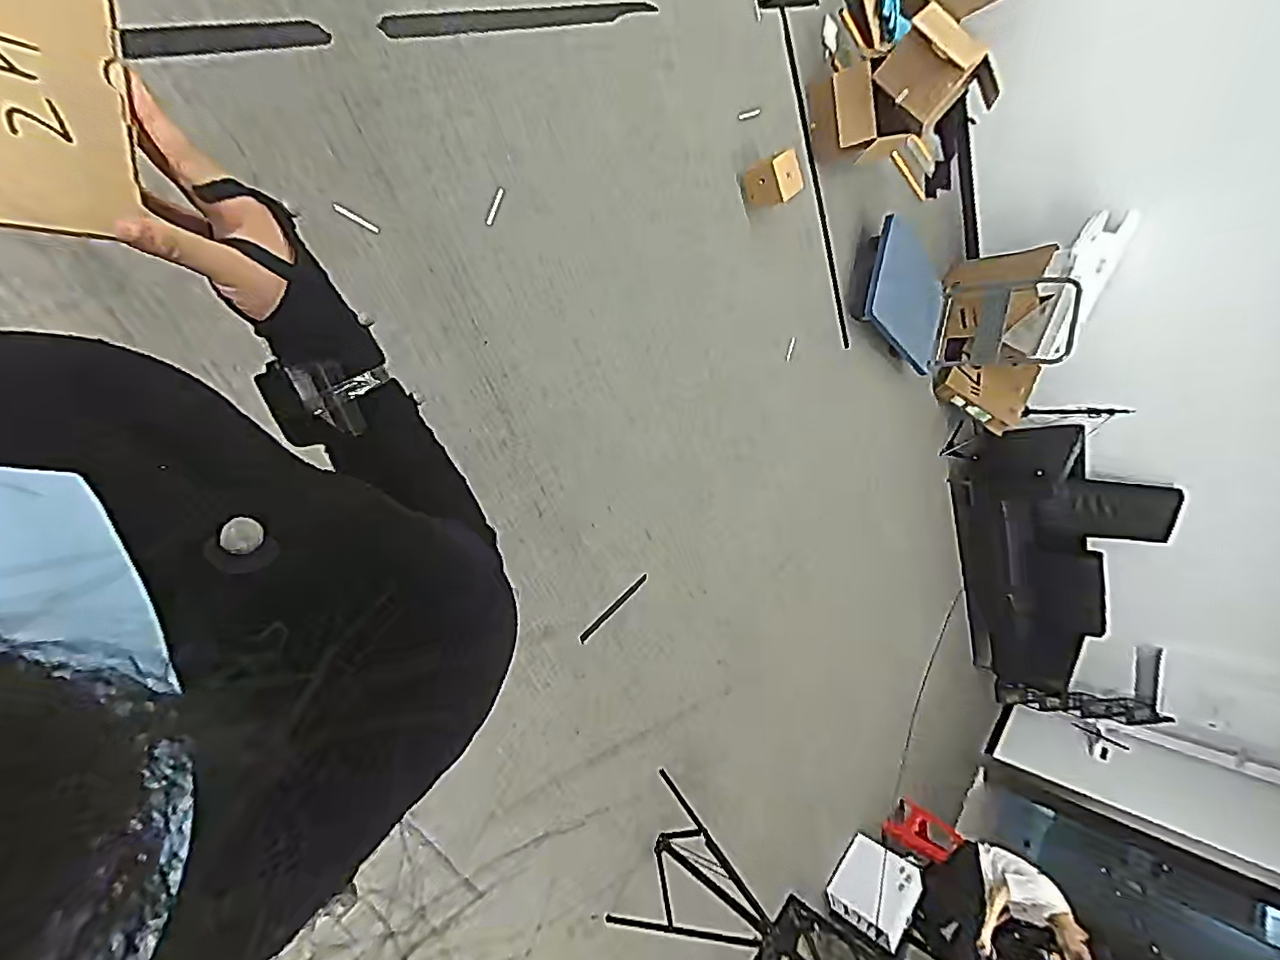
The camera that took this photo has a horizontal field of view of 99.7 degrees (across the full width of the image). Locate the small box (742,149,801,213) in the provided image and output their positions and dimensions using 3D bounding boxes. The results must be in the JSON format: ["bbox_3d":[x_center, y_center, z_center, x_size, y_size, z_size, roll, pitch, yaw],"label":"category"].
[{"bbox_3d":[0.554,-1.269,2.304,0.179,0.176,0.168,-46,123,-29],"label":"small box"}]

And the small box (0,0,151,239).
[{"bbox_3d":[-0.387,-0.231,0.287,0.179,0.176,0.168,-8,114,-42],"label":"small box"}]
